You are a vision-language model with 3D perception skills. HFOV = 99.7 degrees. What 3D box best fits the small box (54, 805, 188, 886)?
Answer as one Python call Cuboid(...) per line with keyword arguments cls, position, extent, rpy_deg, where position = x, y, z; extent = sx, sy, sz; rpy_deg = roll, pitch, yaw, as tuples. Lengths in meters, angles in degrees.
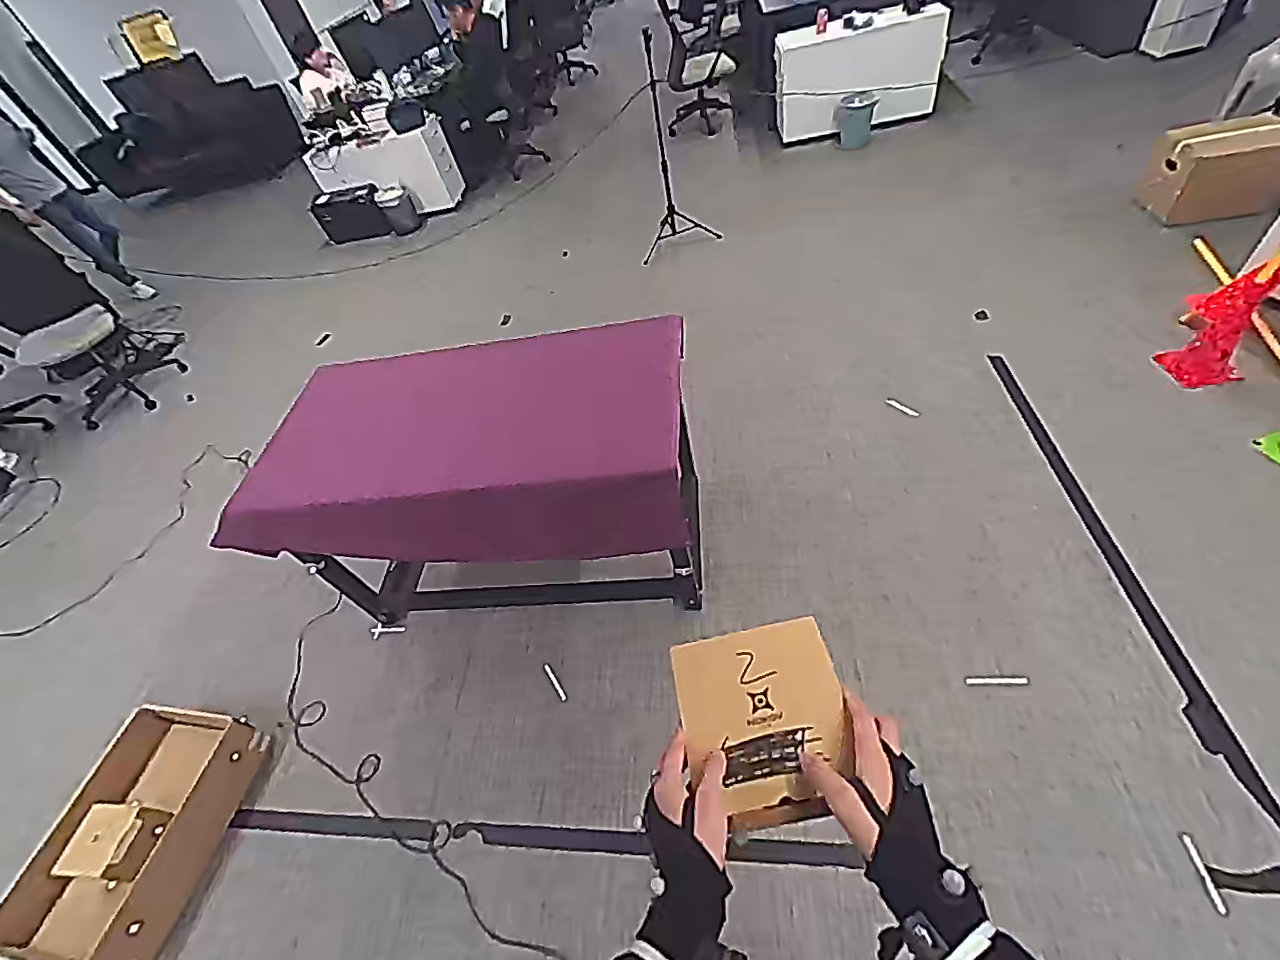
Cuboid(cls="small box", position=(-1.445, 1.030, 1.522), extent=(0.179, 0.176, 0.168), rpy_deg=(-4, 48, 11))
